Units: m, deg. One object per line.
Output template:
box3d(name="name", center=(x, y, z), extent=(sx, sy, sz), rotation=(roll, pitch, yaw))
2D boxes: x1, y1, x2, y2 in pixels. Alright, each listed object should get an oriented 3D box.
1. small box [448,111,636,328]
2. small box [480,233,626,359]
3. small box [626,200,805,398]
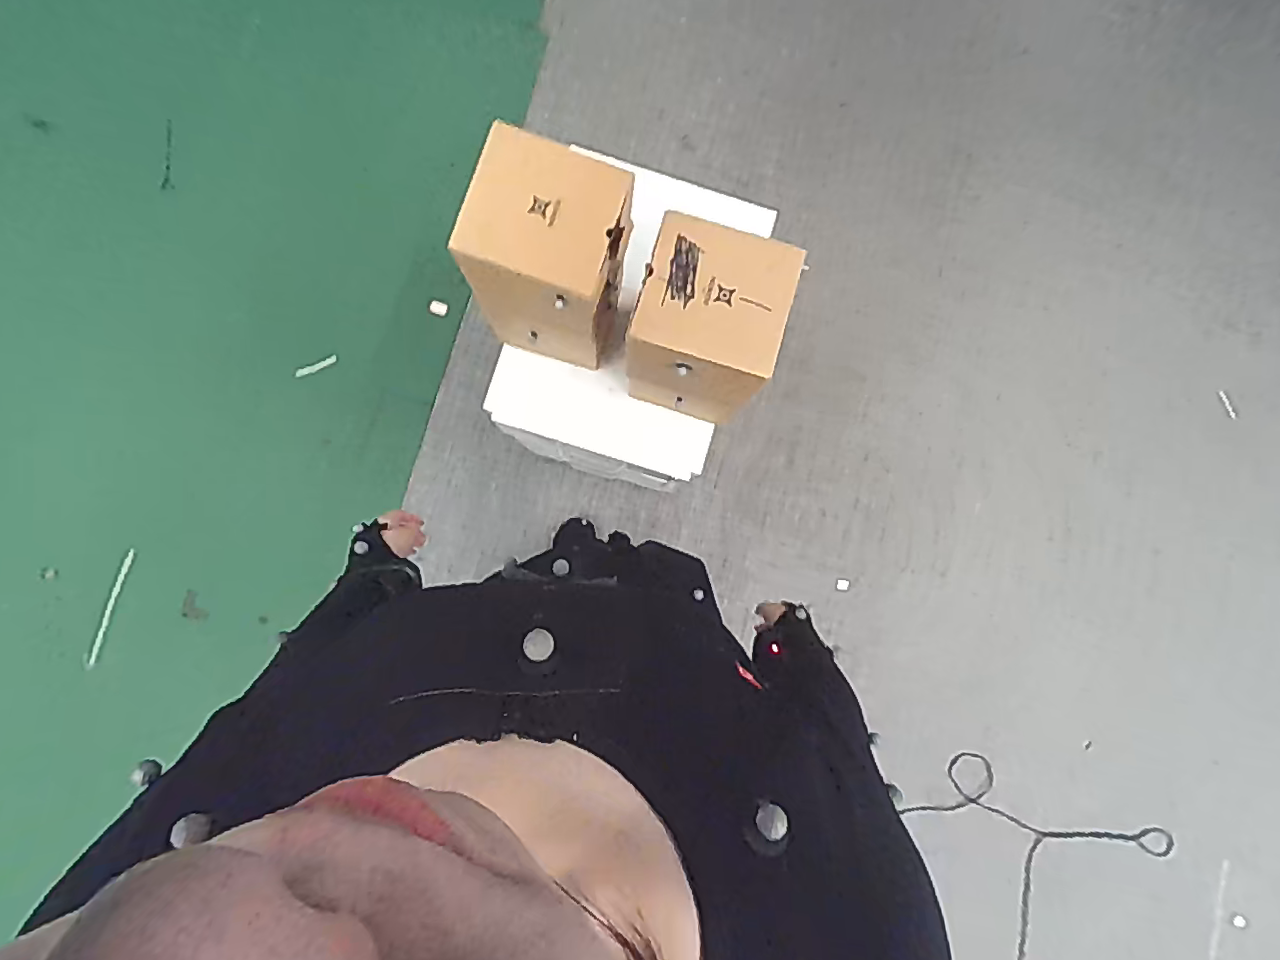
box3d(name="small box", center=(-0.120, -0.320, 0.703), extent=(0.179, 0.176, 0.168), rotation=(18, 84, -5))
box3d(name="small box", center=(-0.133, -0.311, 0.867), extent=(0.179, 0.176, 0.168), rotation=(16, 85, -4))
box3d(name="small box", center=(0.085, -0.221, 0.709), extent=(0.179, 0.176, 0.168), rotation=(17, 84, -2))
